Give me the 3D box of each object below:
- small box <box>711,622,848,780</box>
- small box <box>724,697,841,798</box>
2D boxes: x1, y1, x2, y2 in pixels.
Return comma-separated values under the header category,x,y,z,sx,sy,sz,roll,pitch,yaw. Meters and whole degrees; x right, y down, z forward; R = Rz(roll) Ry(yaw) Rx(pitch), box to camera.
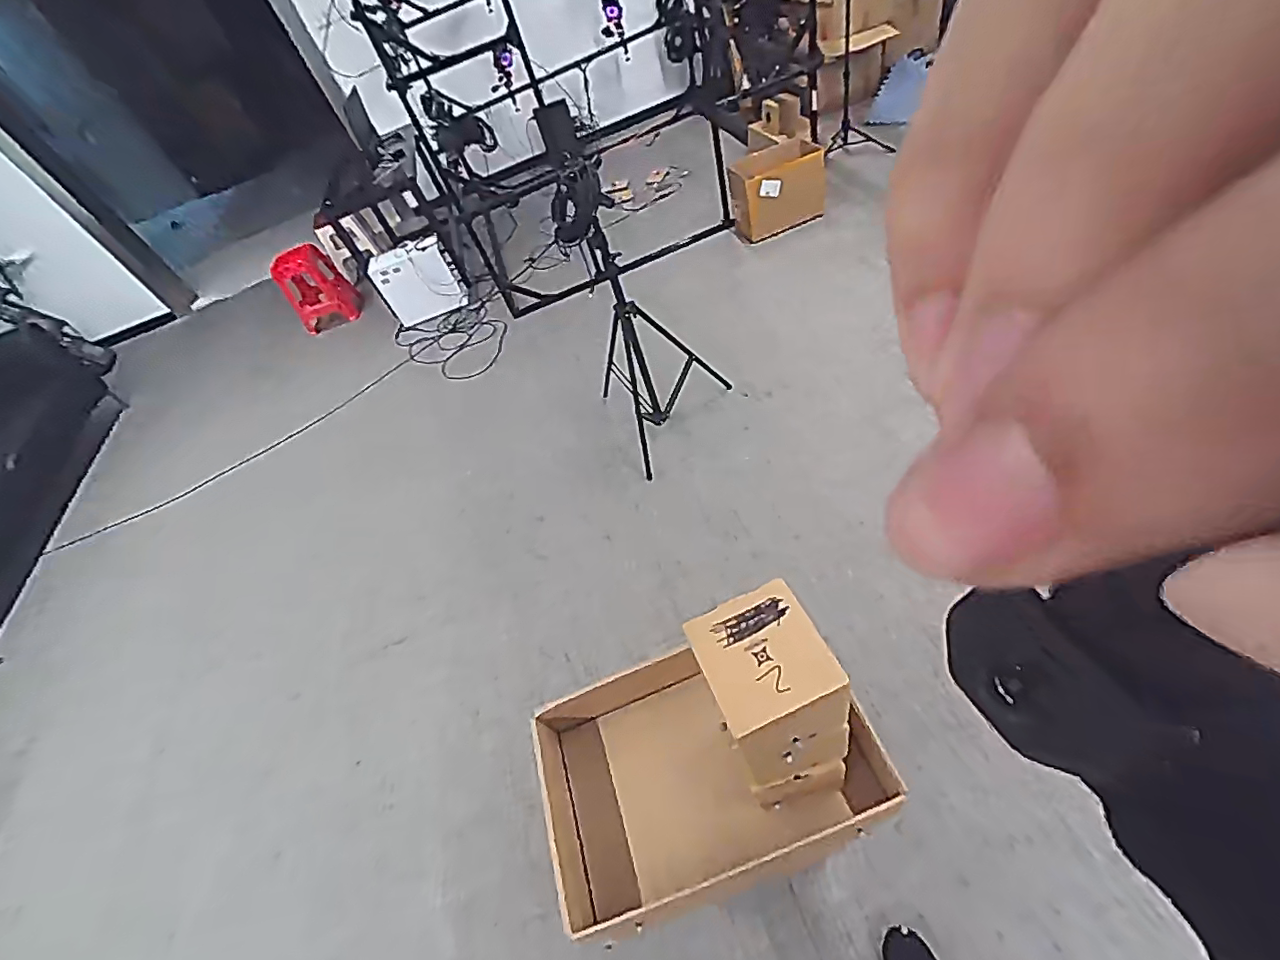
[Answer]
category,x,y,z,sx,sy,sz,roll,pitch,yaw
small box,0.233,0.377,0.917,0.168,0.176,0.179,-21,47,2
small box,0.270,0.487,1.033,0.168,0.176,0.179,-17,47,4
